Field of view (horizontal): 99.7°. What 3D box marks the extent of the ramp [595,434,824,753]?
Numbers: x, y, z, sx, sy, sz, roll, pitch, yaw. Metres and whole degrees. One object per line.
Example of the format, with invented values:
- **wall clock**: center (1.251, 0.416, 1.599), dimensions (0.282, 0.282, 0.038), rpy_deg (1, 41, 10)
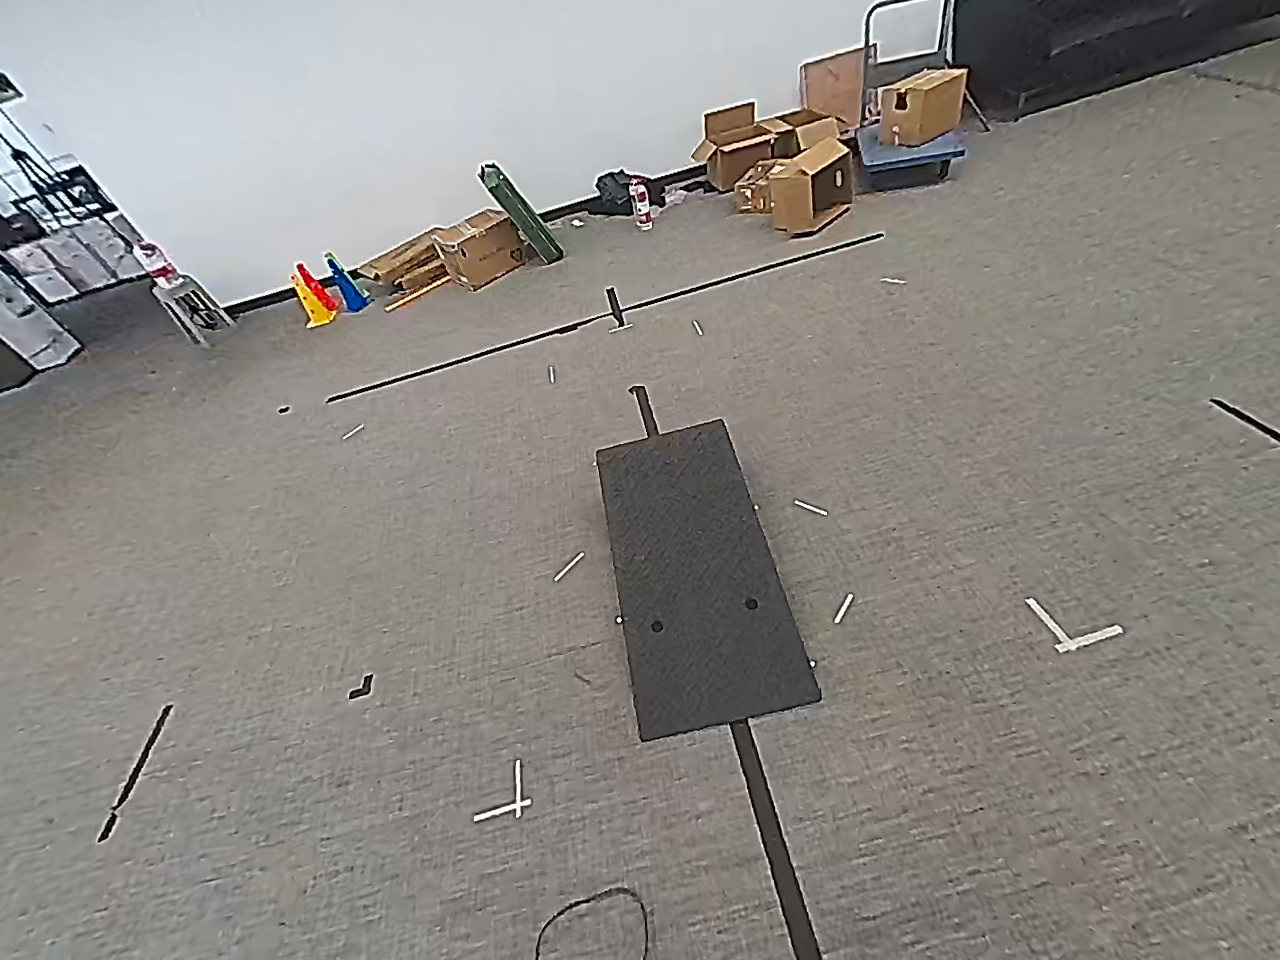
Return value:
- **ramp**: center (0.161, 0.279, 1.723), dimensions (0.509, 0.206, 0.991), rpy_deg (-16, 43, 0)
